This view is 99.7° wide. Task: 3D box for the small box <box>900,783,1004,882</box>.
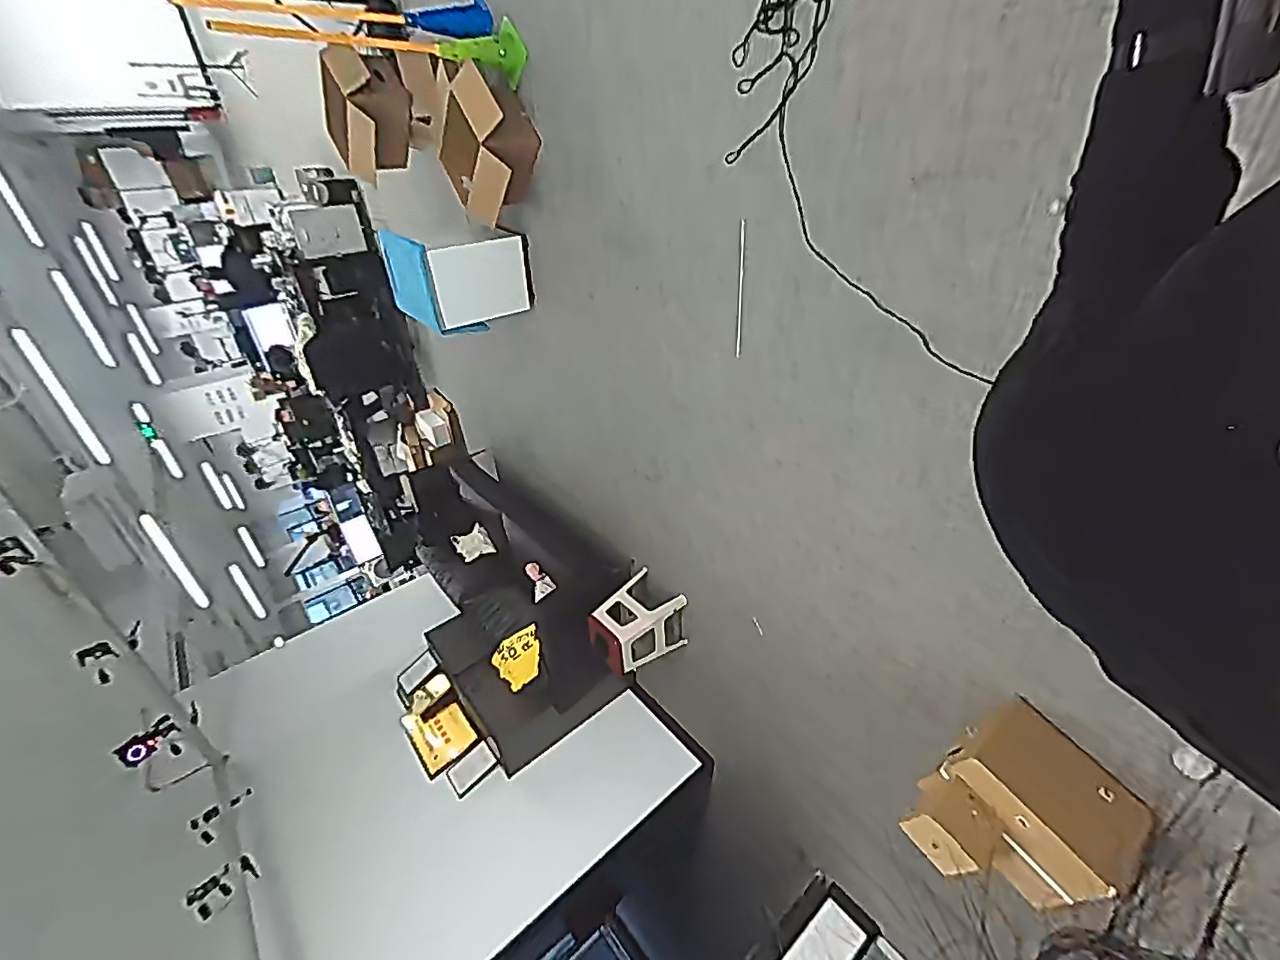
[{"bbox_3d":[0.907,1.022,1.571,0.168,0.176,0.179,47,146,27],"label":"small box"}]
